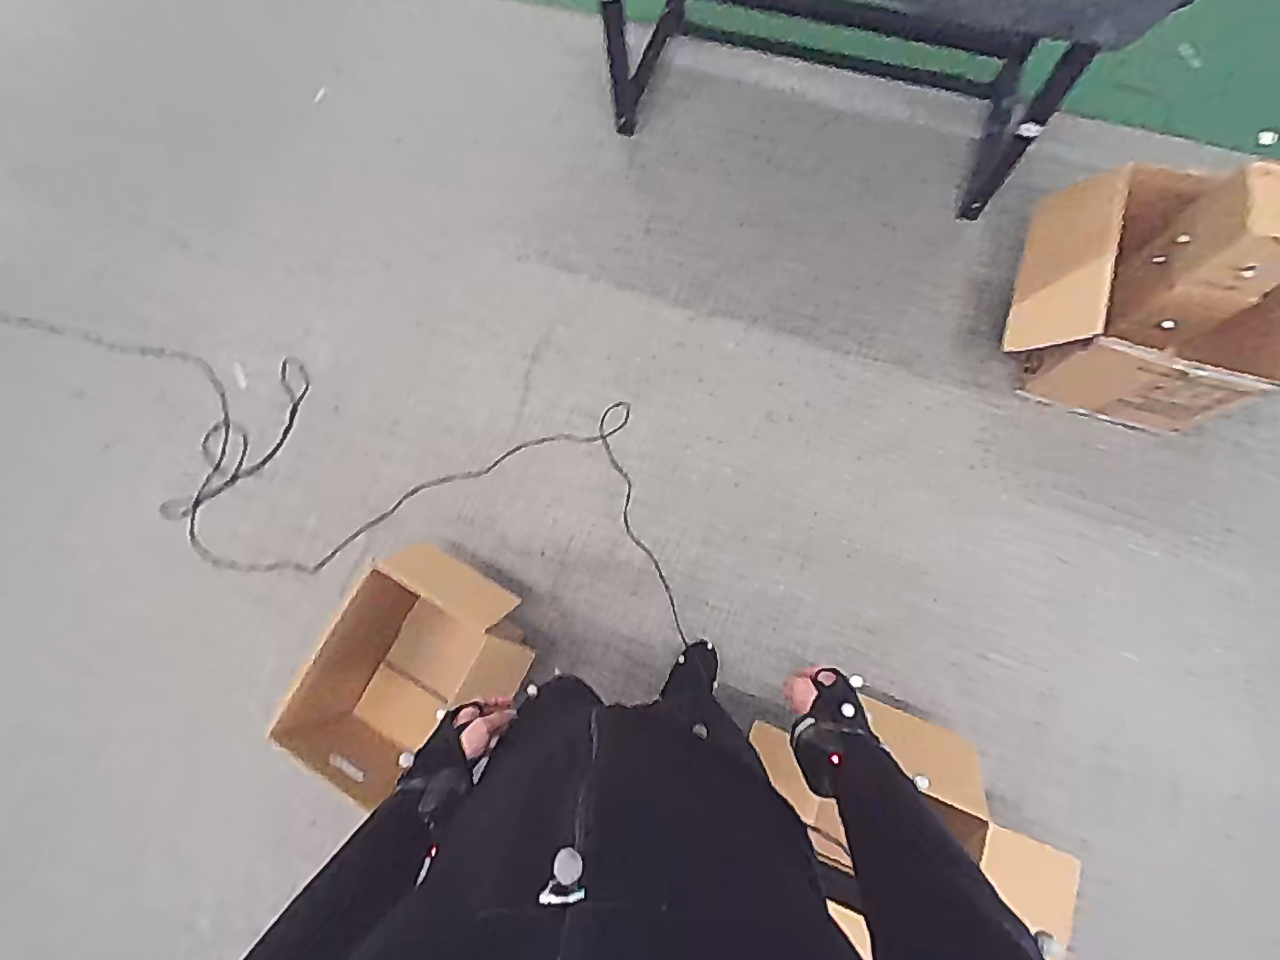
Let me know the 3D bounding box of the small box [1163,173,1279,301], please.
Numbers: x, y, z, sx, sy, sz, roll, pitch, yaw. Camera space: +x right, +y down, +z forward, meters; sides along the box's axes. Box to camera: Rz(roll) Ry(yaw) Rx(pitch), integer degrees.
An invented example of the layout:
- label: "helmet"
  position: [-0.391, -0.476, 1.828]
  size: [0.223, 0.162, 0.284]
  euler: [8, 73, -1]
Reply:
- label: "small box"
  position: [1.262, -0.505, 1.143]
  size: [0.168, 0.176, 0.179]
  euler: [11, 76, 7]
